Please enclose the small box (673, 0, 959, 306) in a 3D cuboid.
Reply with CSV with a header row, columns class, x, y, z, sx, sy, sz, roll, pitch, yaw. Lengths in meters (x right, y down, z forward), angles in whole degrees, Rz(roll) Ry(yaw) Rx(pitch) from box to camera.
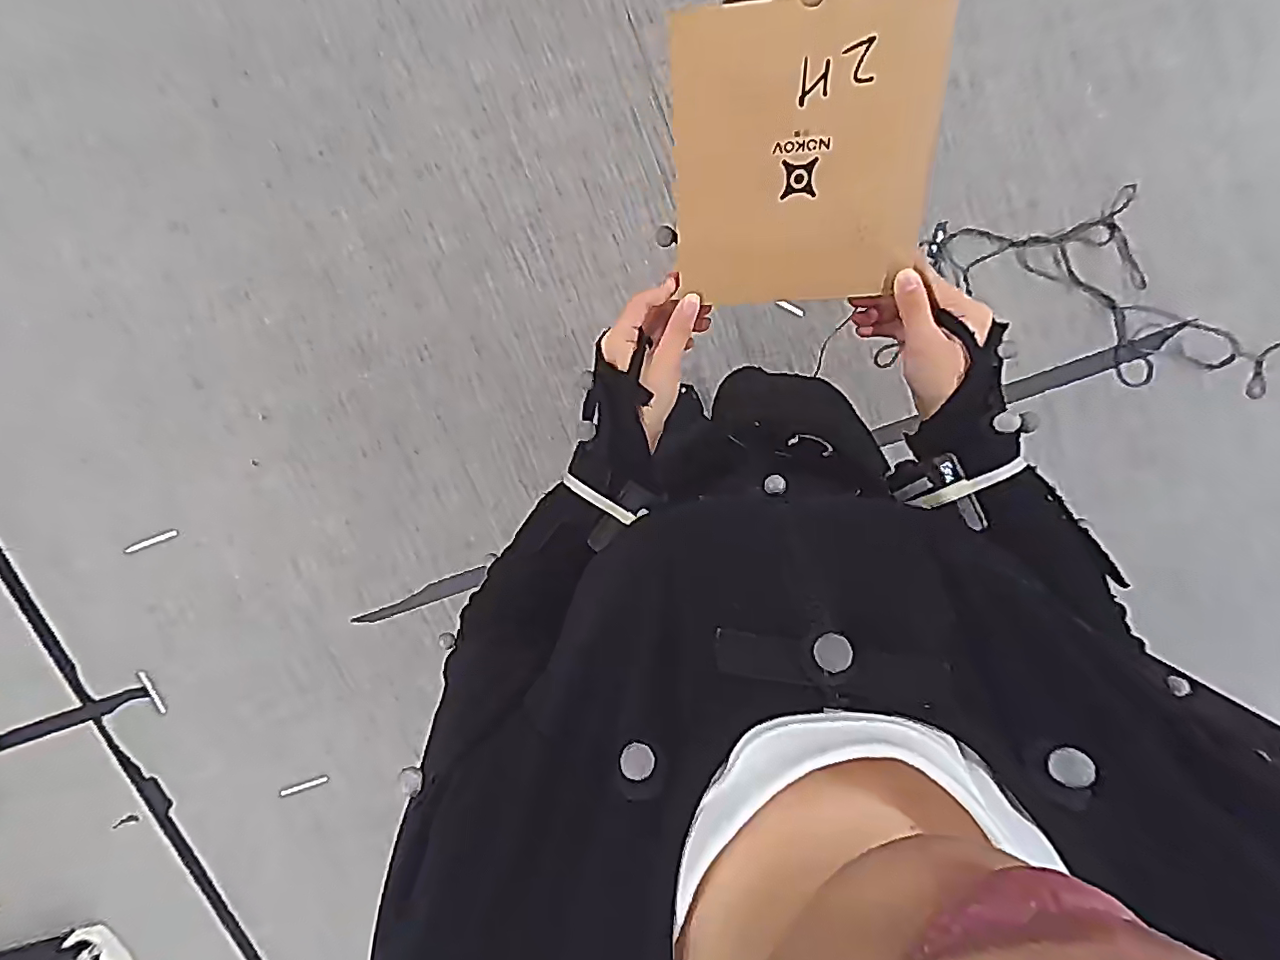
class,x,y,z,sx,sy,sz,roll,pitch,yaw
small box,0.113,-0.247,0.425,0.168,0.176,0.179,-1,120,5
